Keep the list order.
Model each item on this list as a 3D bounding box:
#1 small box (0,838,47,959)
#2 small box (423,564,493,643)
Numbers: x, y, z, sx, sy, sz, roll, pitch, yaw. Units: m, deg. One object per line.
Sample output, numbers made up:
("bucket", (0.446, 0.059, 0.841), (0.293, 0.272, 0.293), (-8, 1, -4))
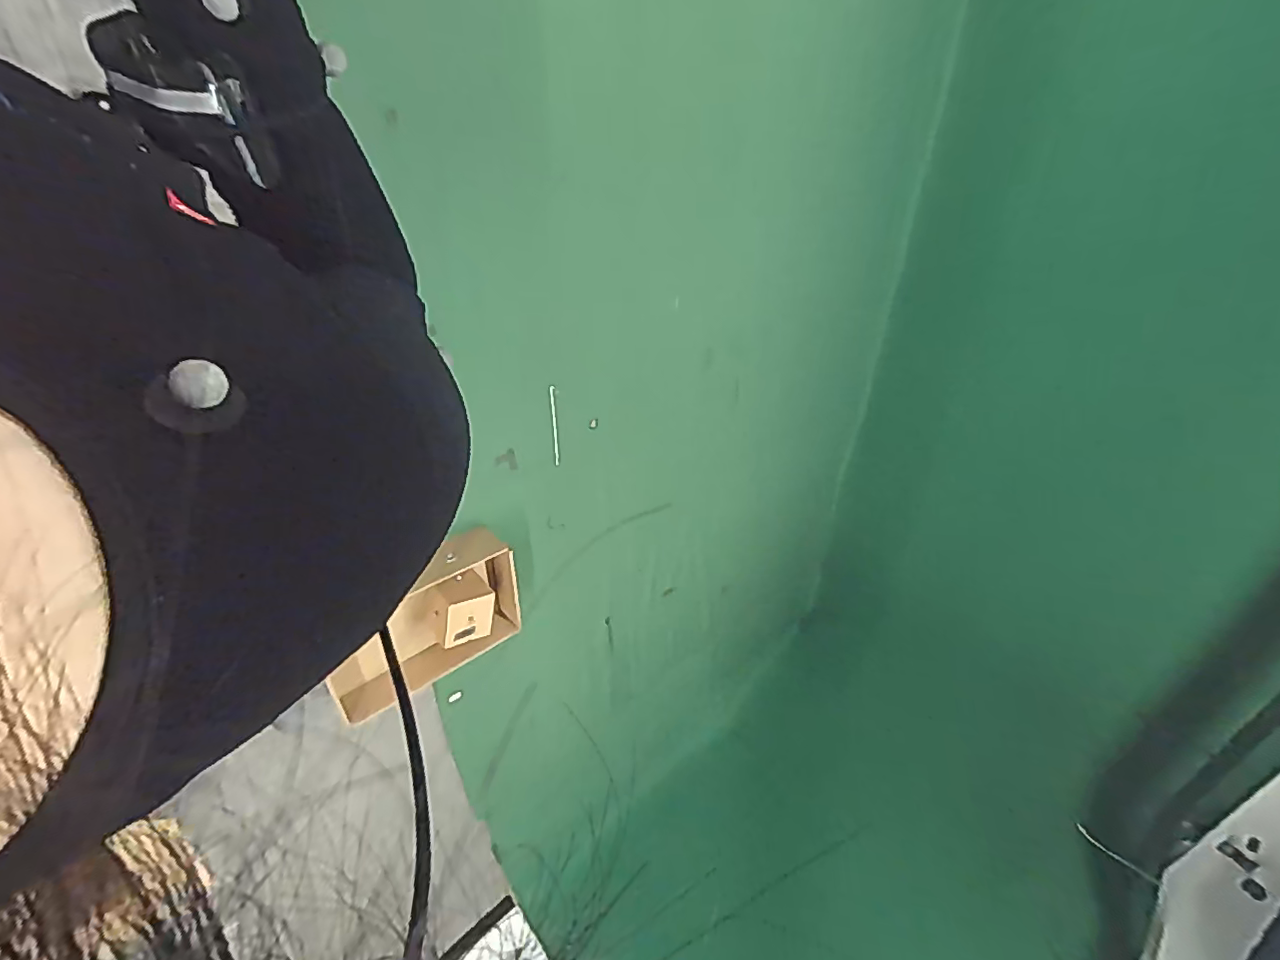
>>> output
("small box", (-1.355, 0.877, 1.100), (0.168, 0.176, 0.179), (-14, 124, -38))
("small box", (-0.617, 0.409, 1.819), (0.168, 0.176, 0.179), (-9, 121, -44))
